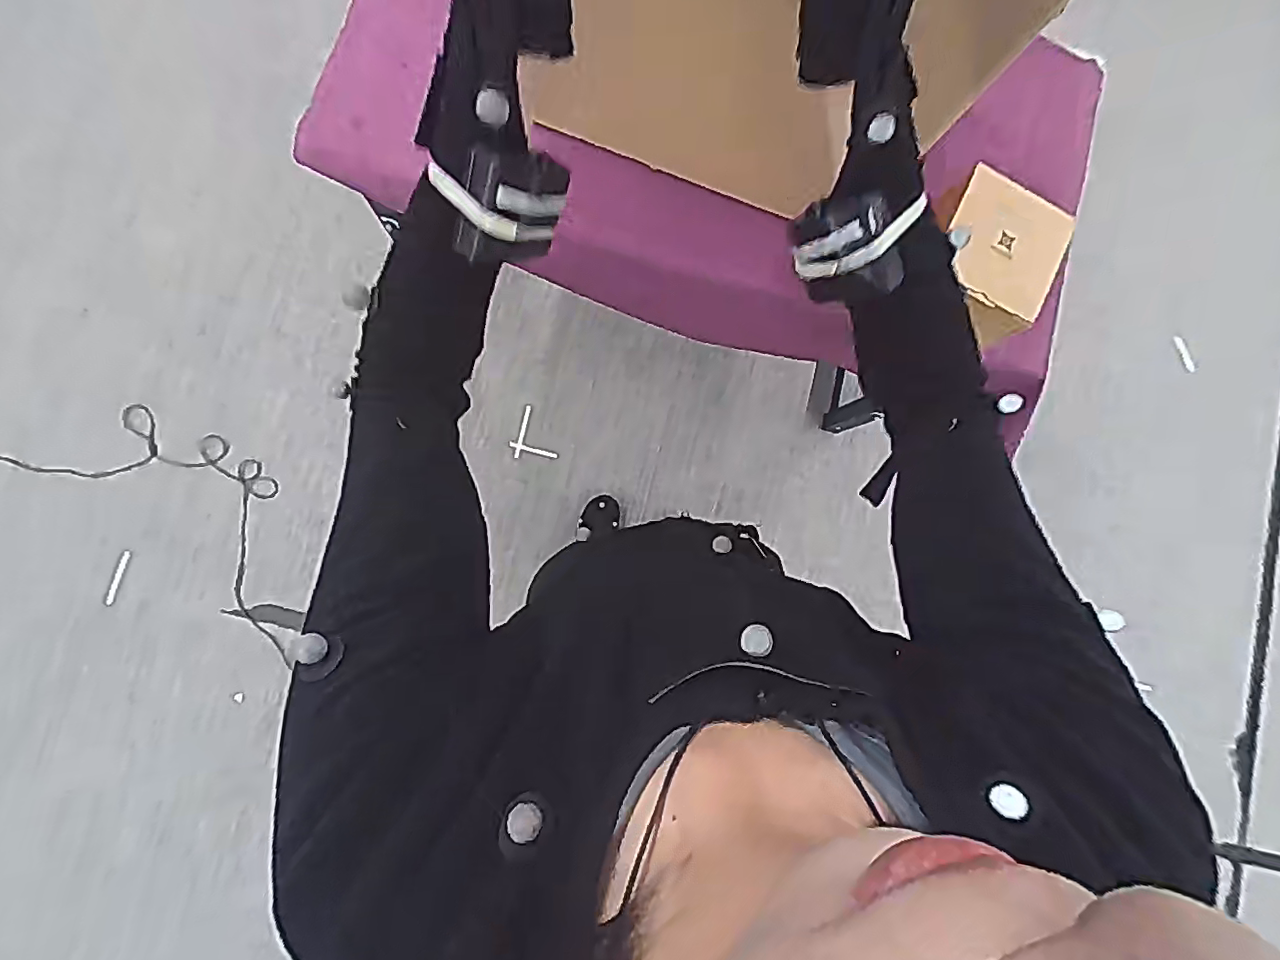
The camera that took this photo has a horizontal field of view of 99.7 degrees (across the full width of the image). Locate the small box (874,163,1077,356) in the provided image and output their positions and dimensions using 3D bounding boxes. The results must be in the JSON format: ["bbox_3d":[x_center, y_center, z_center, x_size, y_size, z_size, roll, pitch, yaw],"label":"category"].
[{"bbox_3d":[0.483,-0.312,0.806,0.168,0.176,0.179,27,81,-5],"label":"small box"}]
